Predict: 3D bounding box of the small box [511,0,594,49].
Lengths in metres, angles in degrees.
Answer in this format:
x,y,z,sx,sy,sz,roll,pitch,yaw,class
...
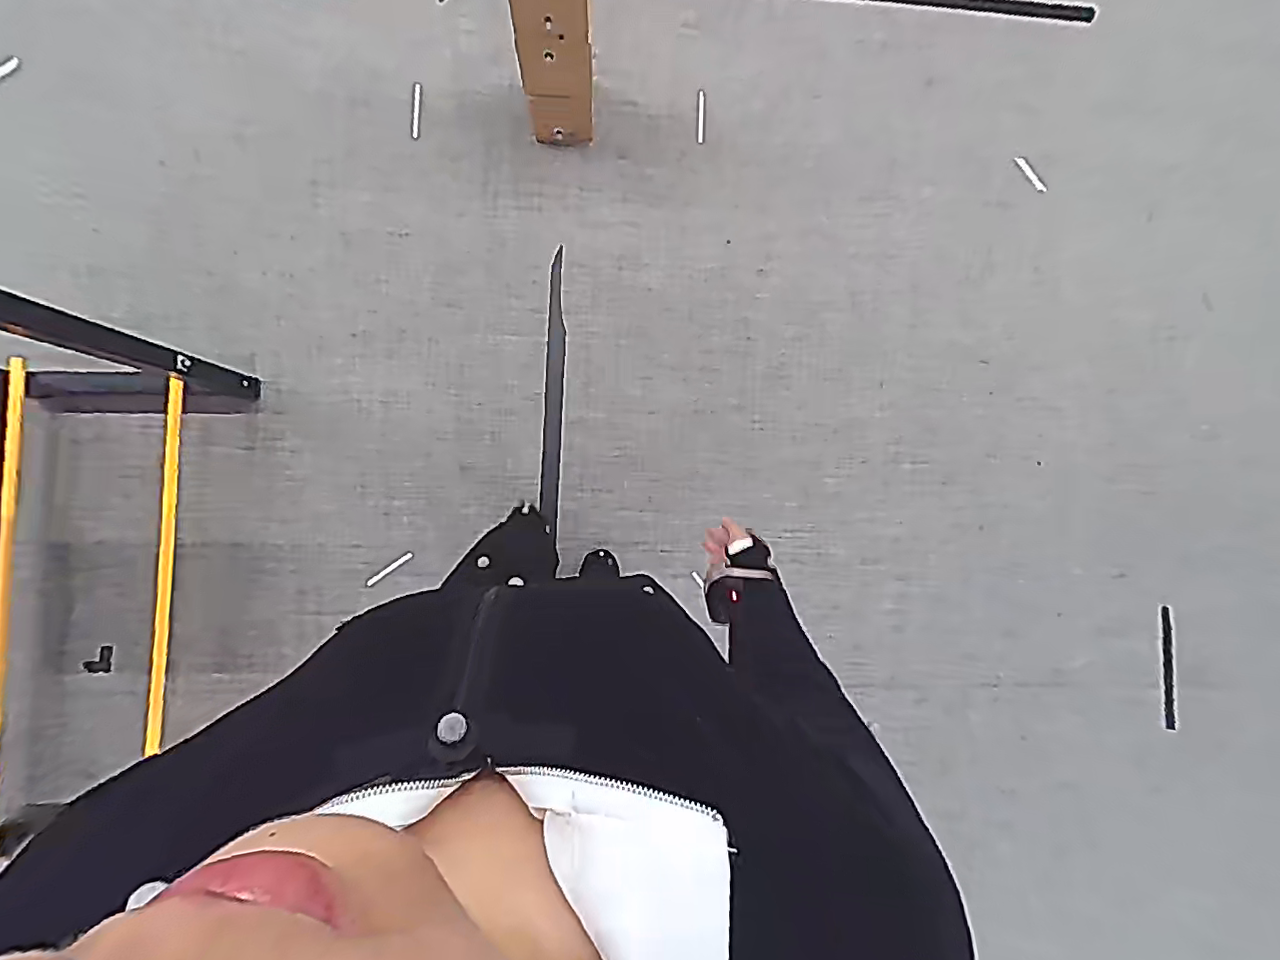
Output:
x,y,z,sx,sy,sz,roll,pitch,yaw,class
-0.183,-1.057,1.125,0.168,0.176,0.179,4,88,-3,small box

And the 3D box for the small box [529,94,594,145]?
x,y,z,sx,sy,sz,roll,pitch,yaw,class
-0.210,-1.041,1.452,0.168,0.176,0.179,-4,89,-3,small box

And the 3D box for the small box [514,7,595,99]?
x,y,z,sx,sy,sz,roll,pitch,yaw,class
-0.198,-1.048,1.288,0.179,0.176,0.168,1,88,-4,small box
